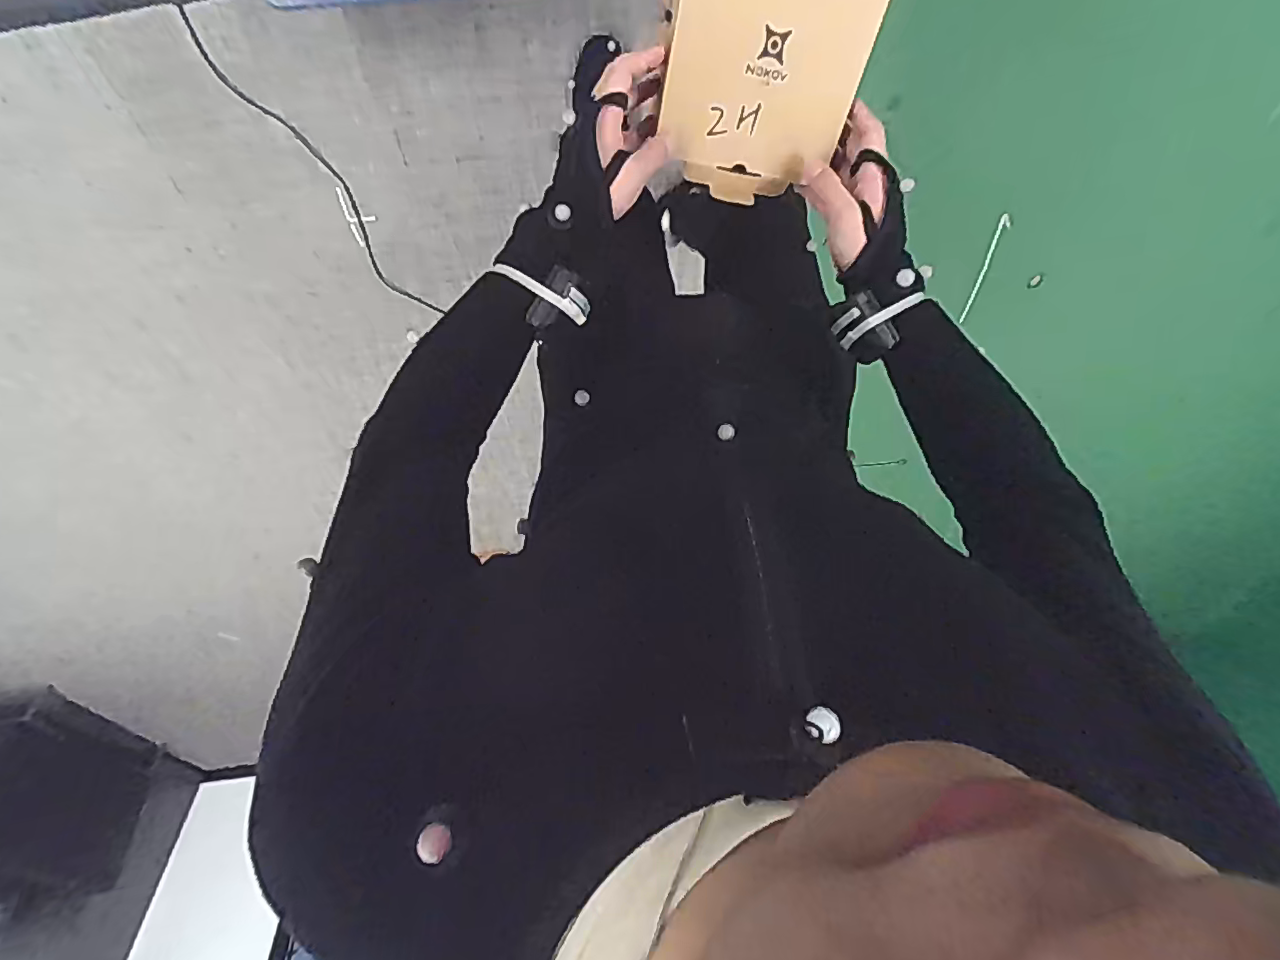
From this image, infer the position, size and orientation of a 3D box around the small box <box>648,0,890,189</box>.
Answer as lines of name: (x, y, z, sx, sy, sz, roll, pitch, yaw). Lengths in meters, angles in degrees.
small box: (0.105, -0.407, 0.511, 0.168, 0.176, 0.179, 6, 132, -10)
